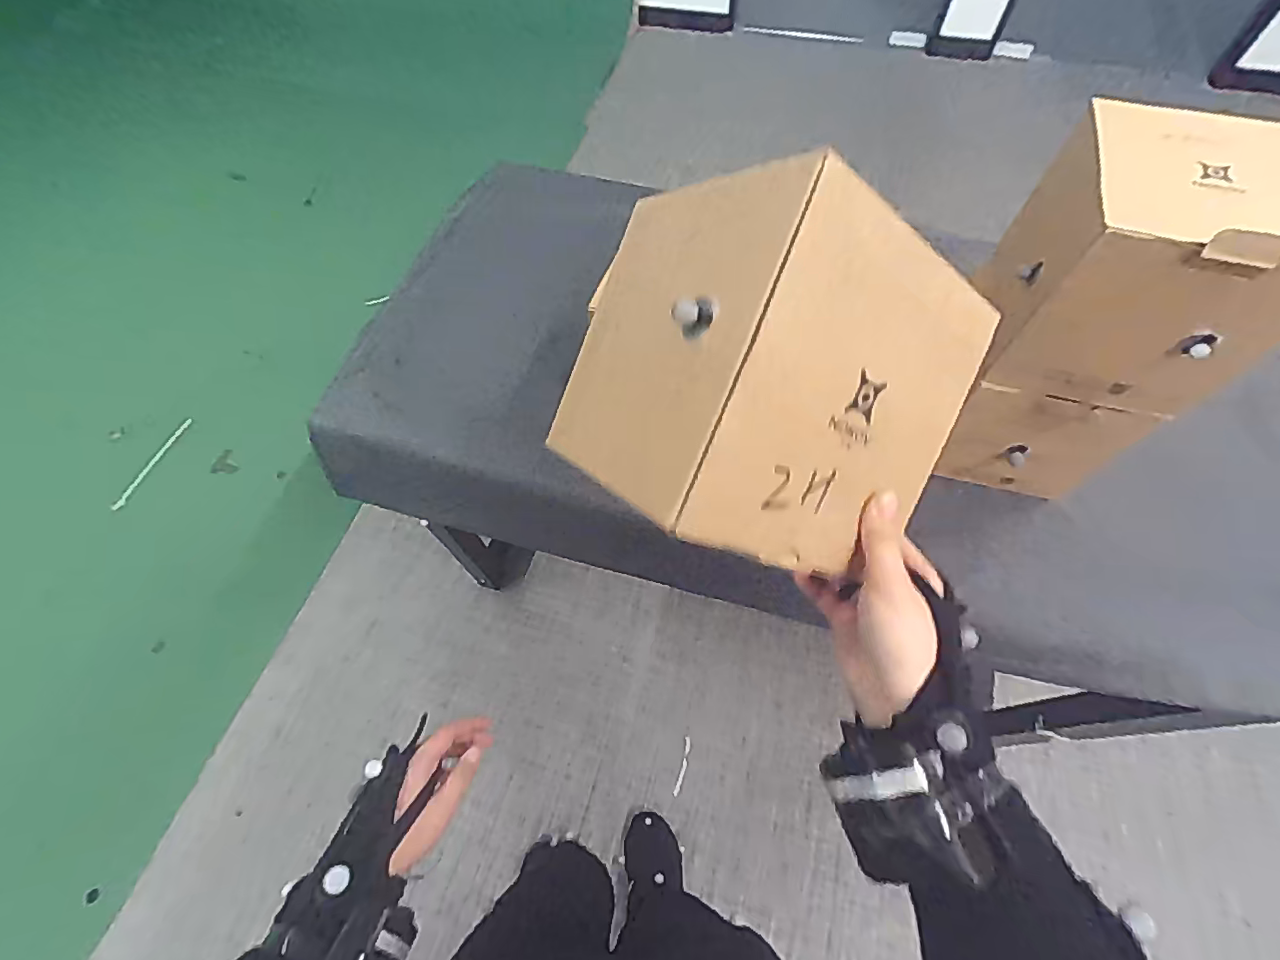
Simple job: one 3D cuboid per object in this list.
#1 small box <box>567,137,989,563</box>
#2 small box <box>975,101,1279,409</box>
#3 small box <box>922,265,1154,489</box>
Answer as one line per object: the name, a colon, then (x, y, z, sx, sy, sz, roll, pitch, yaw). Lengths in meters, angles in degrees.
small box: (0.072, -0.071, 0.350, 0.176, 0.168, 0.179, 32, 102, 57)
small box: (0.422, -0.189, 0.476, 0.168, 0.176, 0.179, 16, 62, 9)
small box: (0.422, -0.110, 0.619, 0.168, 0.176, 0.179, 13, 63, 8)
